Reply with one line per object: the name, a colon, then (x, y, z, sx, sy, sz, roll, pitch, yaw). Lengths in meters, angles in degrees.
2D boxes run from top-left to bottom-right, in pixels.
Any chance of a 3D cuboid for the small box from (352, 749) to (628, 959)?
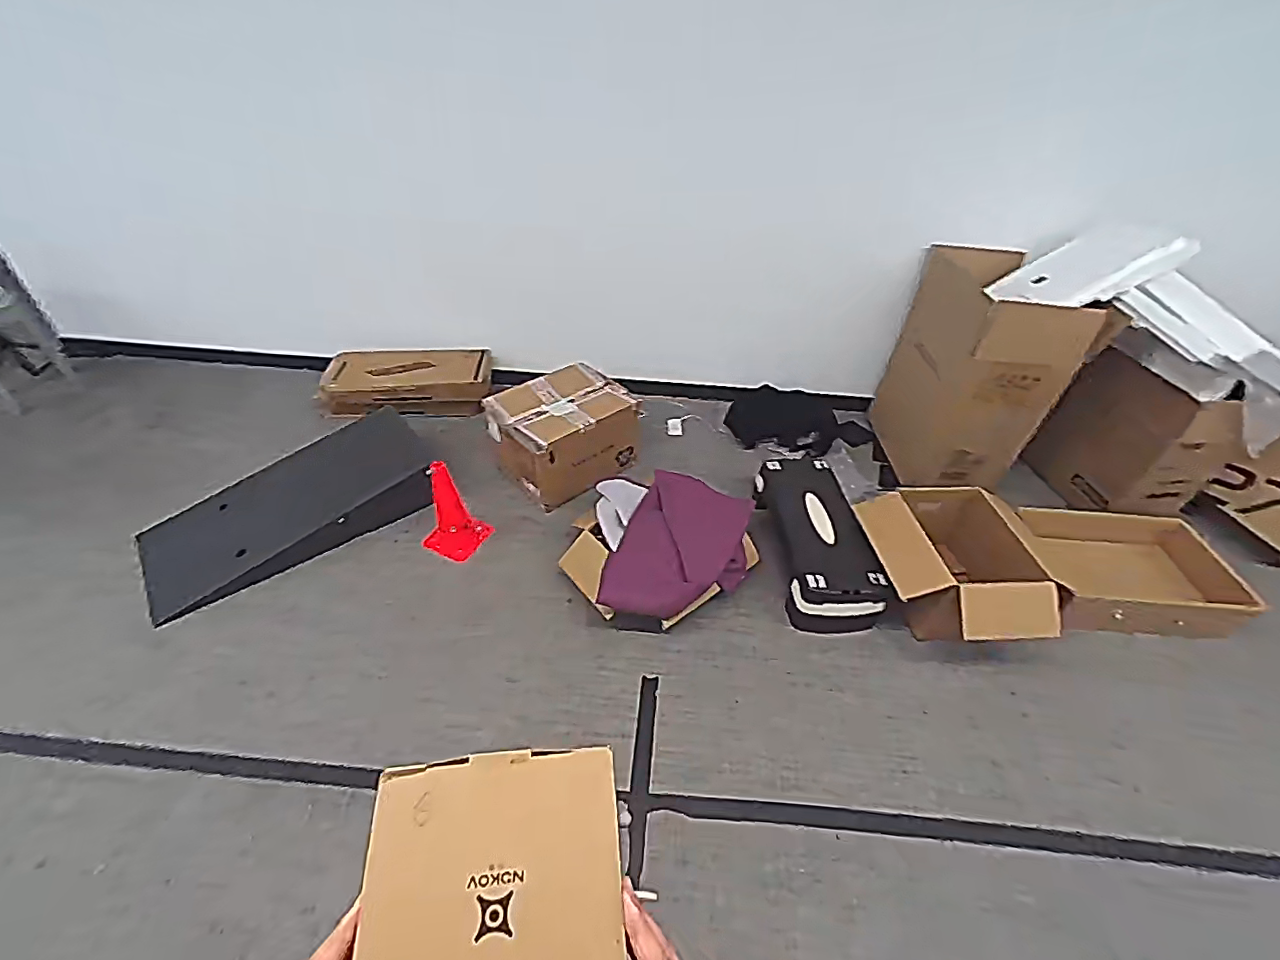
small box: (-0.099, 0.318, 0.401, 0.168, 0.176, 0.179, -3, 55, -8)
